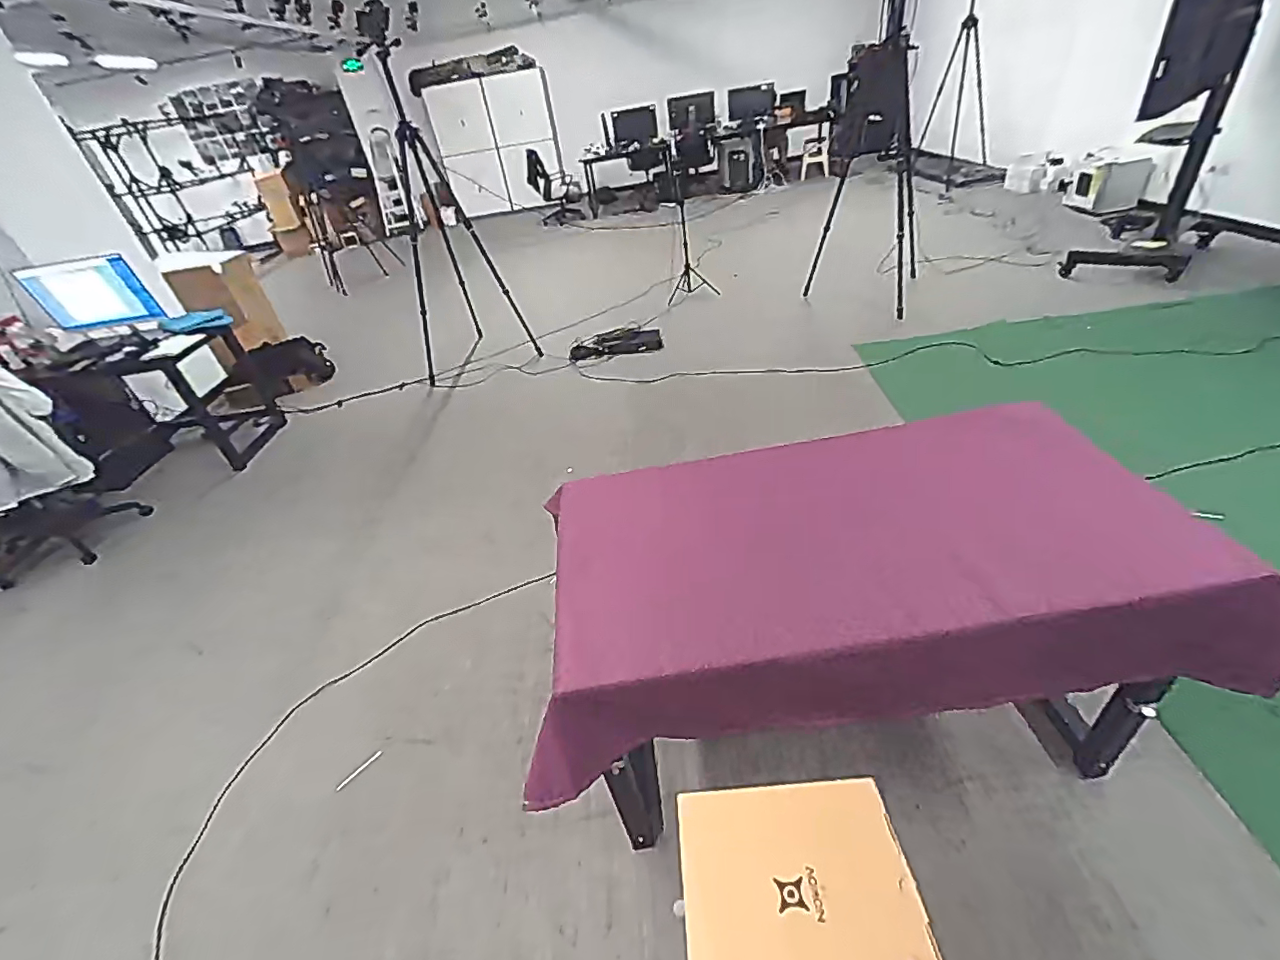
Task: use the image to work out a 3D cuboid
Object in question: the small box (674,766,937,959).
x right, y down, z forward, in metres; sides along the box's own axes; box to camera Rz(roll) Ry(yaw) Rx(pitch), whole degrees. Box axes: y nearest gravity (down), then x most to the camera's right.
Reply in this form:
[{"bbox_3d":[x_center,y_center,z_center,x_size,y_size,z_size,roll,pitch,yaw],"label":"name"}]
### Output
[{"bbox_3d":[0.129,0.375,0.460,0.179,0.176,0.168,-7,32,4],"label":"small box"}]
